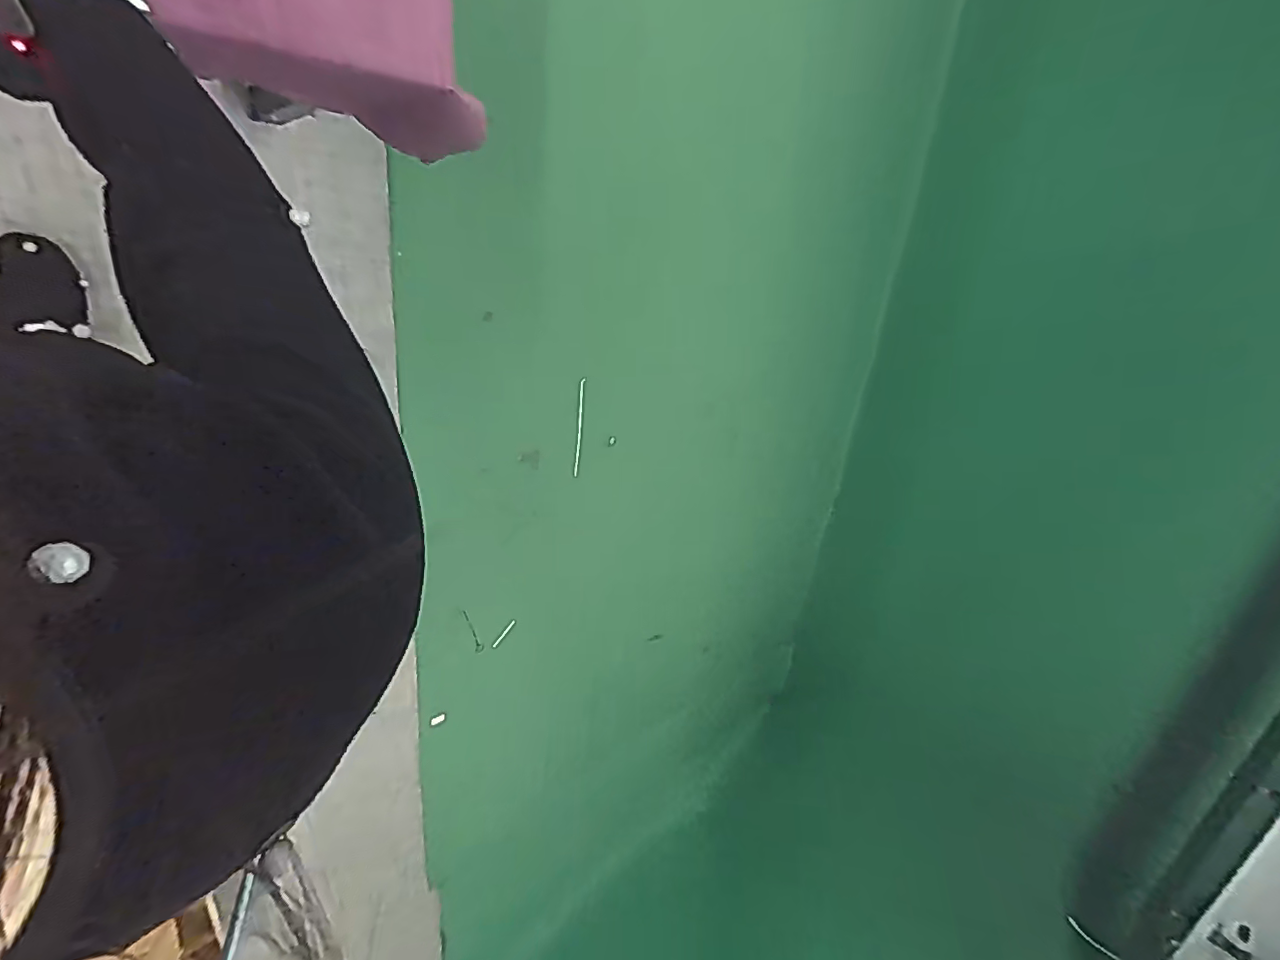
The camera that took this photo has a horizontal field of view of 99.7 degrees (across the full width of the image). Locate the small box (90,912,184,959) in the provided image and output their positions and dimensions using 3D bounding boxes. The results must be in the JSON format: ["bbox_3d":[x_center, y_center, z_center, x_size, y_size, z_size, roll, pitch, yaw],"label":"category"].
[{"bbox_3d":[-1.293,1.277,1.399,0.168,0.176,0.179,-10,117,-44],"label":"small box"}]
